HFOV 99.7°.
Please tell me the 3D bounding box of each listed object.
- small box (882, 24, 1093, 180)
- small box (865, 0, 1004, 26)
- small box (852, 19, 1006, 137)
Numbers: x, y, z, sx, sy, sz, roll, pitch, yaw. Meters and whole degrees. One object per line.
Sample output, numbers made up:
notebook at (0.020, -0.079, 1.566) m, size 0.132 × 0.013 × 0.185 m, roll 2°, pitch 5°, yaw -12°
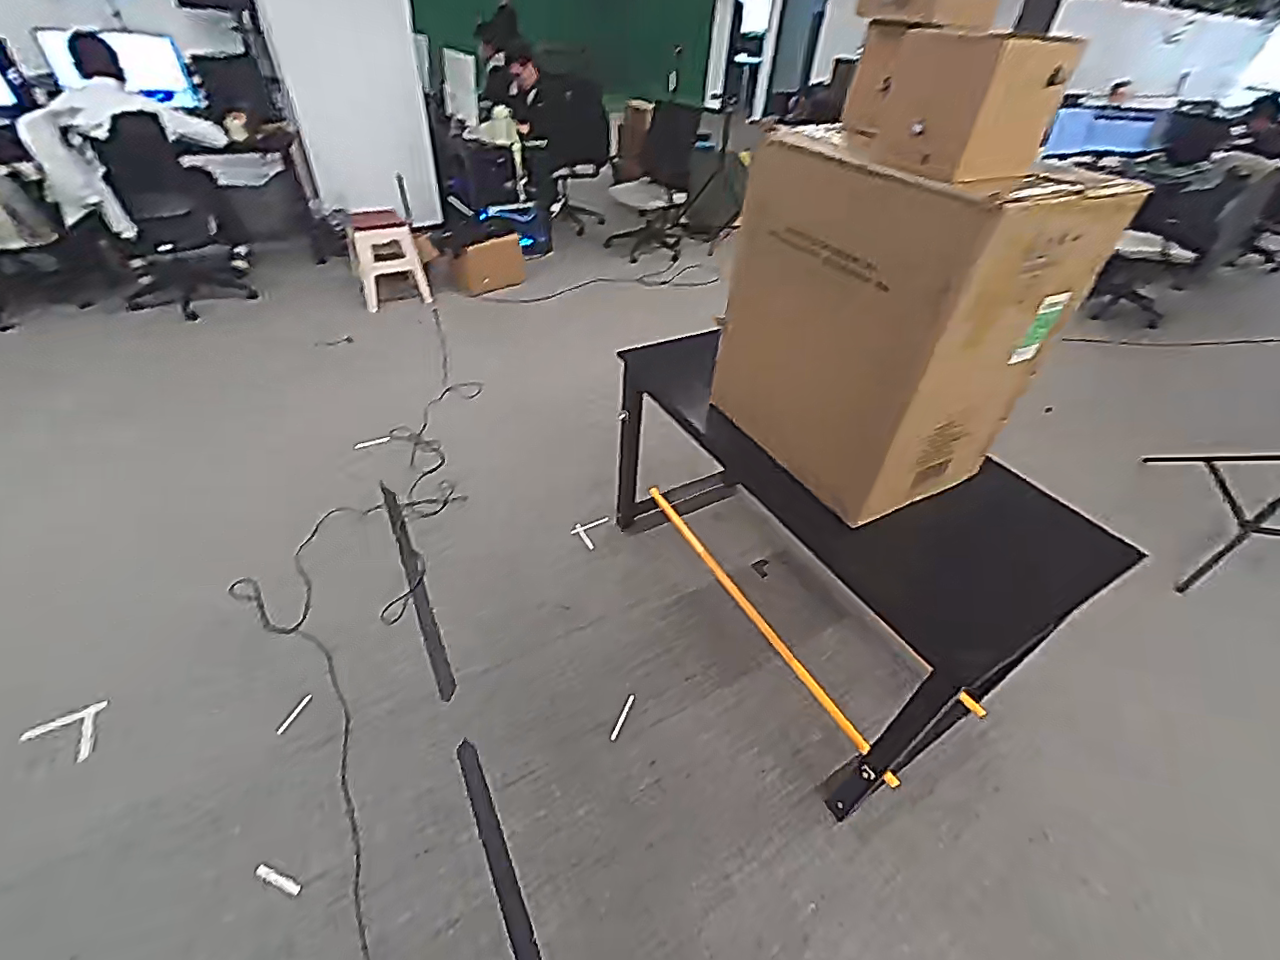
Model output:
small box at (0.499, -0.561, 0.805) m, size 0.179 × 0.176 × 0.168 m, roll -17°, pitch 45°, yaw -22°
small box at (0.509, -0.864, 0.896) m, size 0.179 × 0.176 × 0.168 m, roll -21°, pitch 47°, yaw -26°
small box at (0.528, -0.750, 1.017) m, size 0.179 × 0.176 × 0.168 m, roll -18°, pitch 48°, yaw -24°
